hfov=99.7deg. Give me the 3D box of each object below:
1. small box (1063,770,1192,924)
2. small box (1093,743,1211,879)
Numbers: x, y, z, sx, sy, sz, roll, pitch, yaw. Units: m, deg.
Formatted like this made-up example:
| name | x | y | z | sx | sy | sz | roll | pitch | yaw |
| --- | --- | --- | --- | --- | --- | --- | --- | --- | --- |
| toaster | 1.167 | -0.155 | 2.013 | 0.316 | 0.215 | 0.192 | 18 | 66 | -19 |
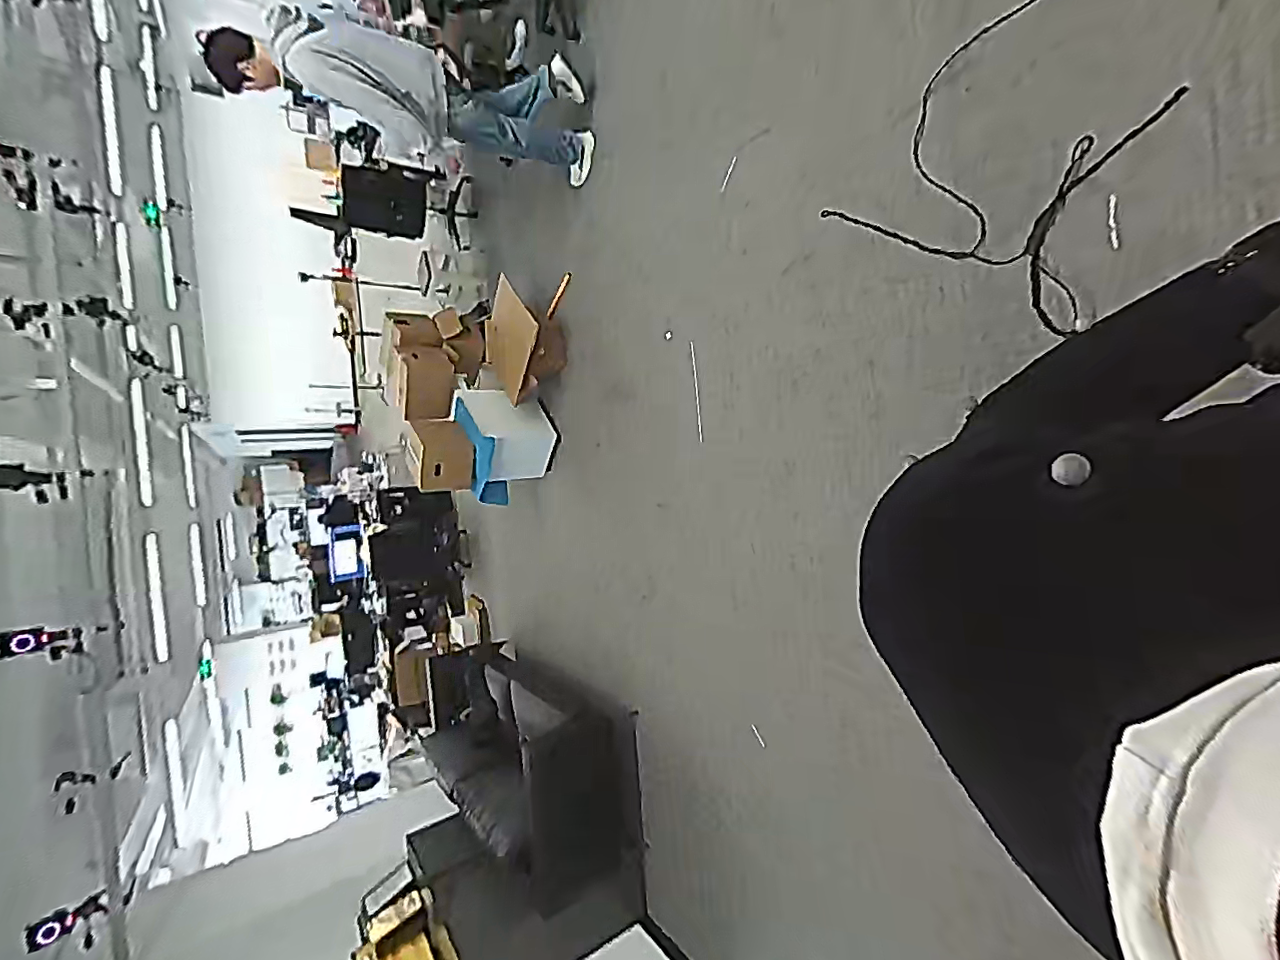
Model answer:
| name | x | y | z | sx | sy | sz | roll | pitch | yaw |
| --- | --- | --- | --- | --- | --- | --- | --- | --- | --- |
| small box | 1.003 | 0.738 | 1.115 | 0.168 | 0.176 | 0.179 | 2 | 97 | 55 |
| small box | 1.140 | 0.722 | 1.207 | 0.168 | 0.176 | 0.179 | 2 | 96 | 55 |
